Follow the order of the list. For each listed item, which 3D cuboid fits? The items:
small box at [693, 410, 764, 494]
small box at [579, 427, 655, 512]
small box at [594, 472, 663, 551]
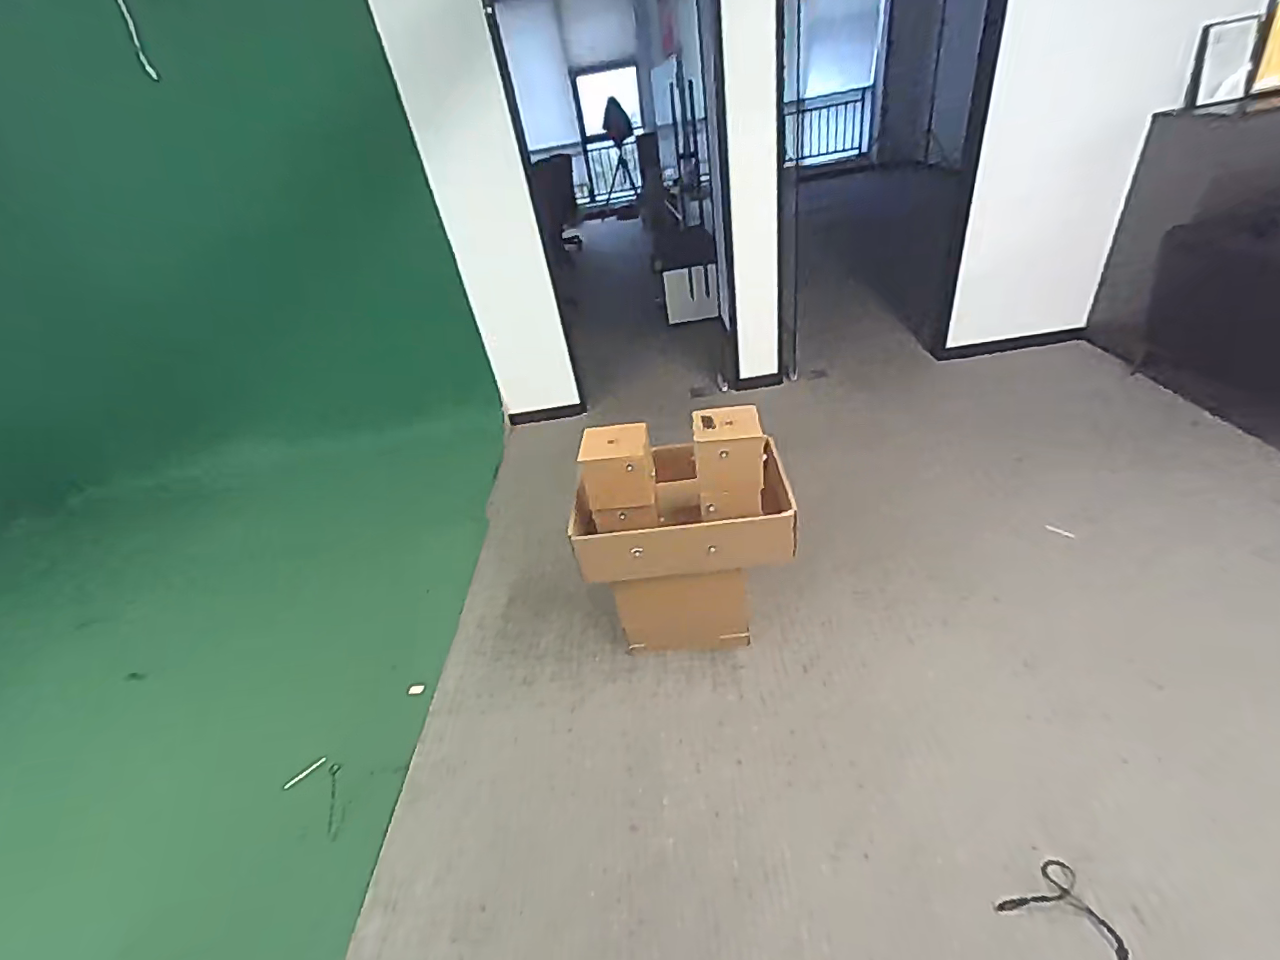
[{"bbox_3d":[0.240,-0.074,1.473,0.179,0.176,0.168,-4,35,8],"label":"small box"},{"bbox_3d":[-0.058,-0.026,1.495,0.179,0.176,0.168,-5,36,7],"label":"small box"},{"bbox_3d":[-0.031,0.095,1.601,0.179,0.176,0.168,-5,36,6],"label":"small box"}]
